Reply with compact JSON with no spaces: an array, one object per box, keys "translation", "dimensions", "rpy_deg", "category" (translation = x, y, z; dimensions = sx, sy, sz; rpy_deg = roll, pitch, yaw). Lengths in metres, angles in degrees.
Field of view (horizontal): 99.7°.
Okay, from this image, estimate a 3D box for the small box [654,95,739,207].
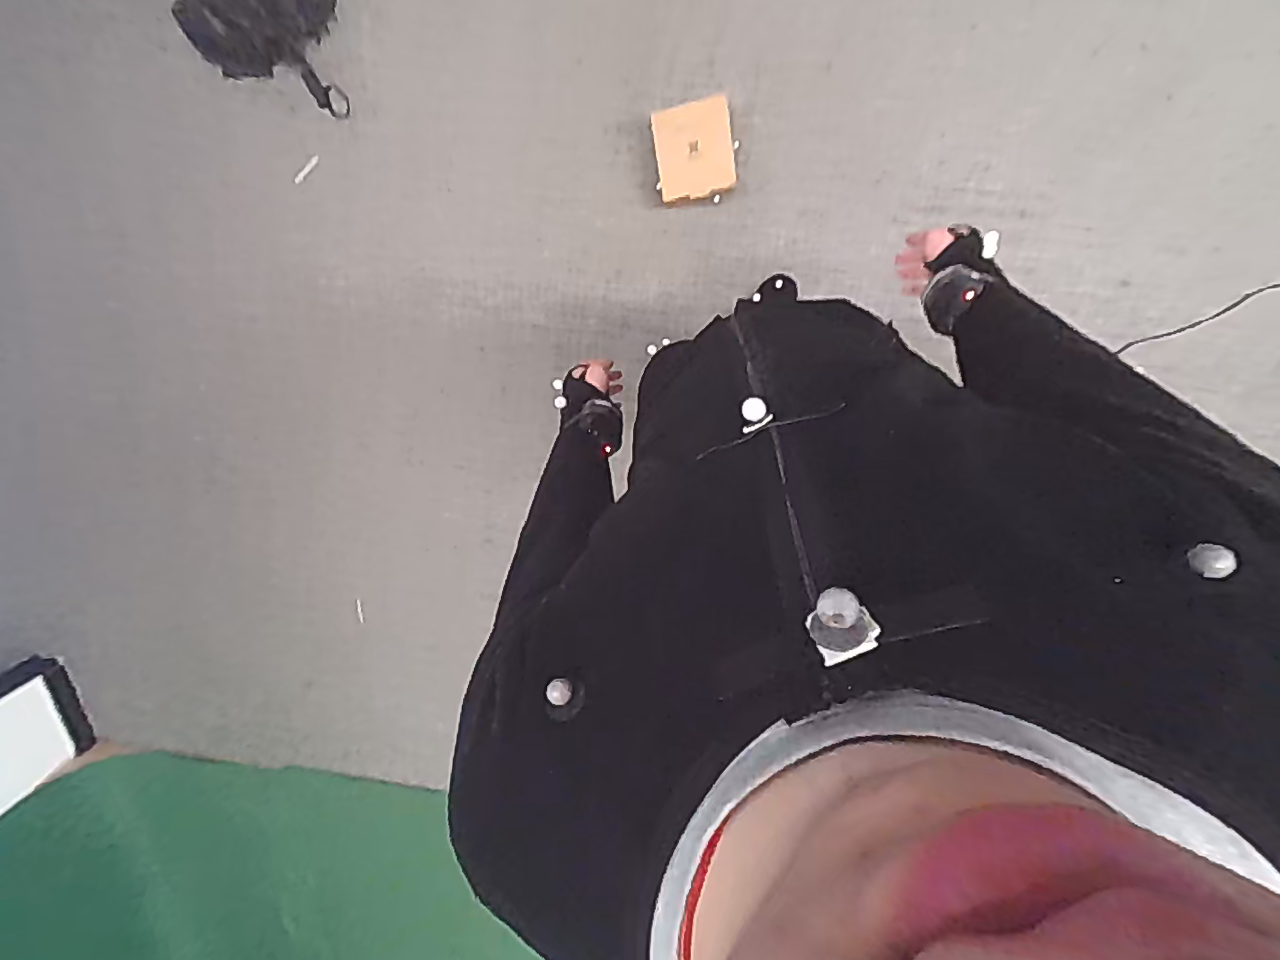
[{"translation":[0.136,-0.738,1.237],"dimensions":[0.168,0.176,0.179],"rpy_deg":[-8,109,11],"category":"small box"}]
